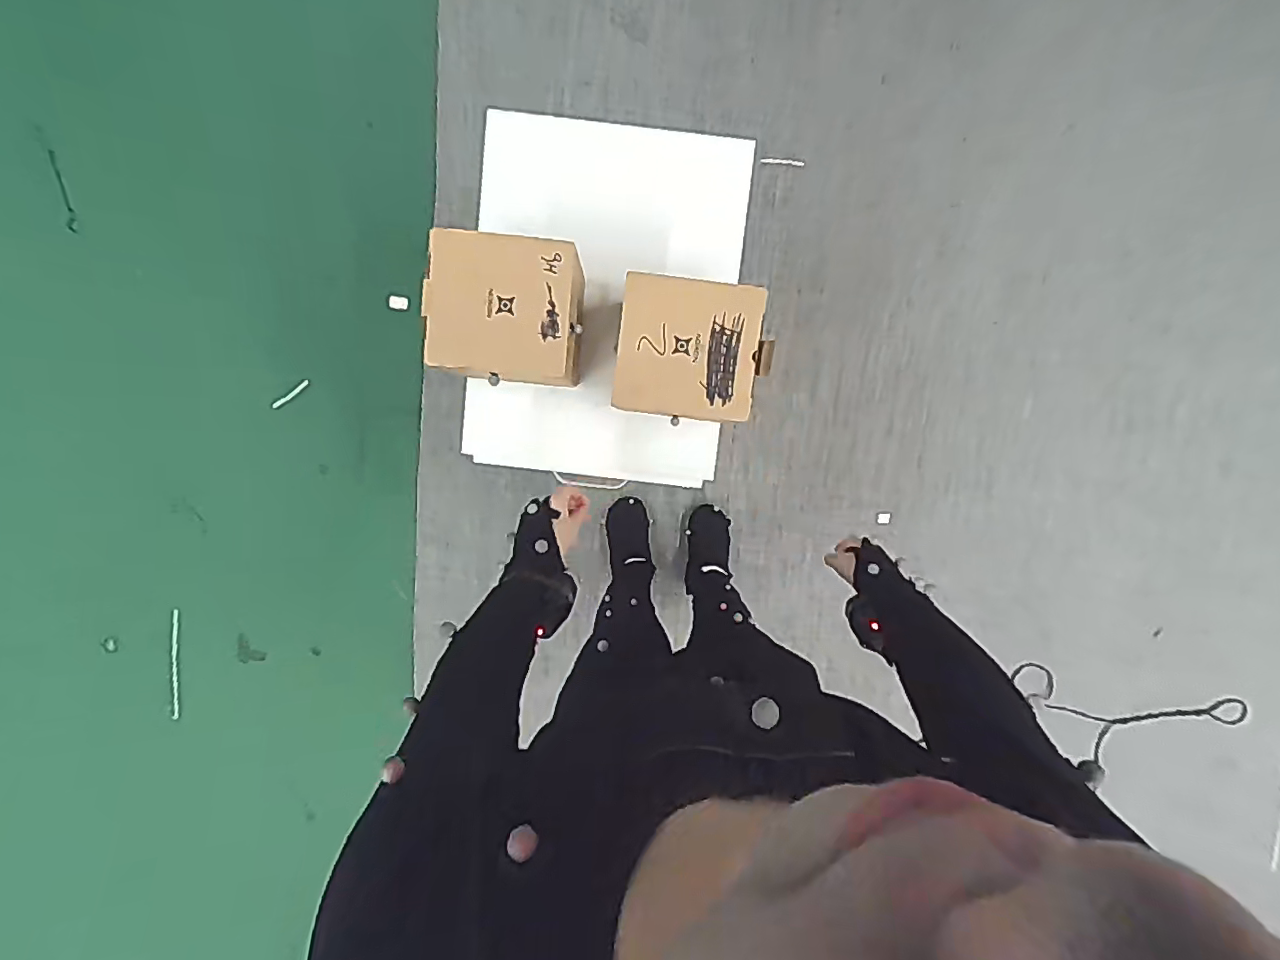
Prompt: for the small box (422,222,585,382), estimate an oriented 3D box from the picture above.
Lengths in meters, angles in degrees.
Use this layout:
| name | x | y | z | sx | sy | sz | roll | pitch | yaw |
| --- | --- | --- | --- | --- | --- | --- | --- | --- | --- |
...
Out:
| name | x | y | z | sx | sy | sz | roll | pitch | yaw |
| --- | --- | --- | --- | --- | --- | --- | --- | --- | --- |
| small box | -0.174 | -0.228 | 0.735 | 0.179 | 0.176 | 0.168 | 5 | 95 | -2 |
